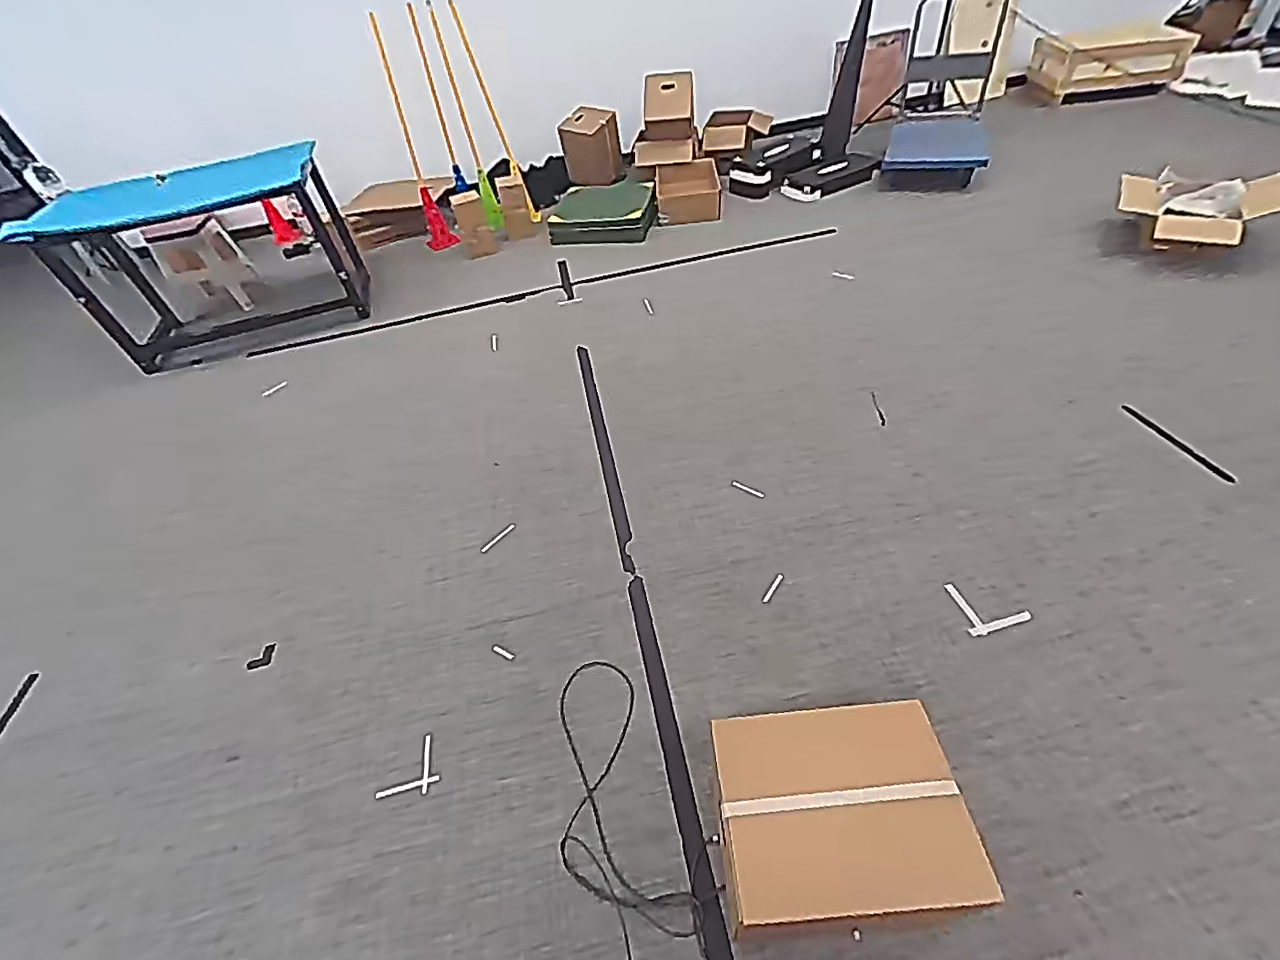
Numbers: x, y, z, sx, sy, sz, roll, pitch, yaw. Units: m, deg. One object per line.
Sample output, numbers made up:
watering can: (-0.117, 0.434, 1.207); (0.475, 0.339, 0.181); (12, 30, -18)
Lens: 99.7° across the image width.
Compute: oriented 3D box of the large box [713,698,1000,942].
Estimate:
large box: (0.365, 0.658, 1.045); (0.408, 0.320, 0.320); (-7, 46, 2)
